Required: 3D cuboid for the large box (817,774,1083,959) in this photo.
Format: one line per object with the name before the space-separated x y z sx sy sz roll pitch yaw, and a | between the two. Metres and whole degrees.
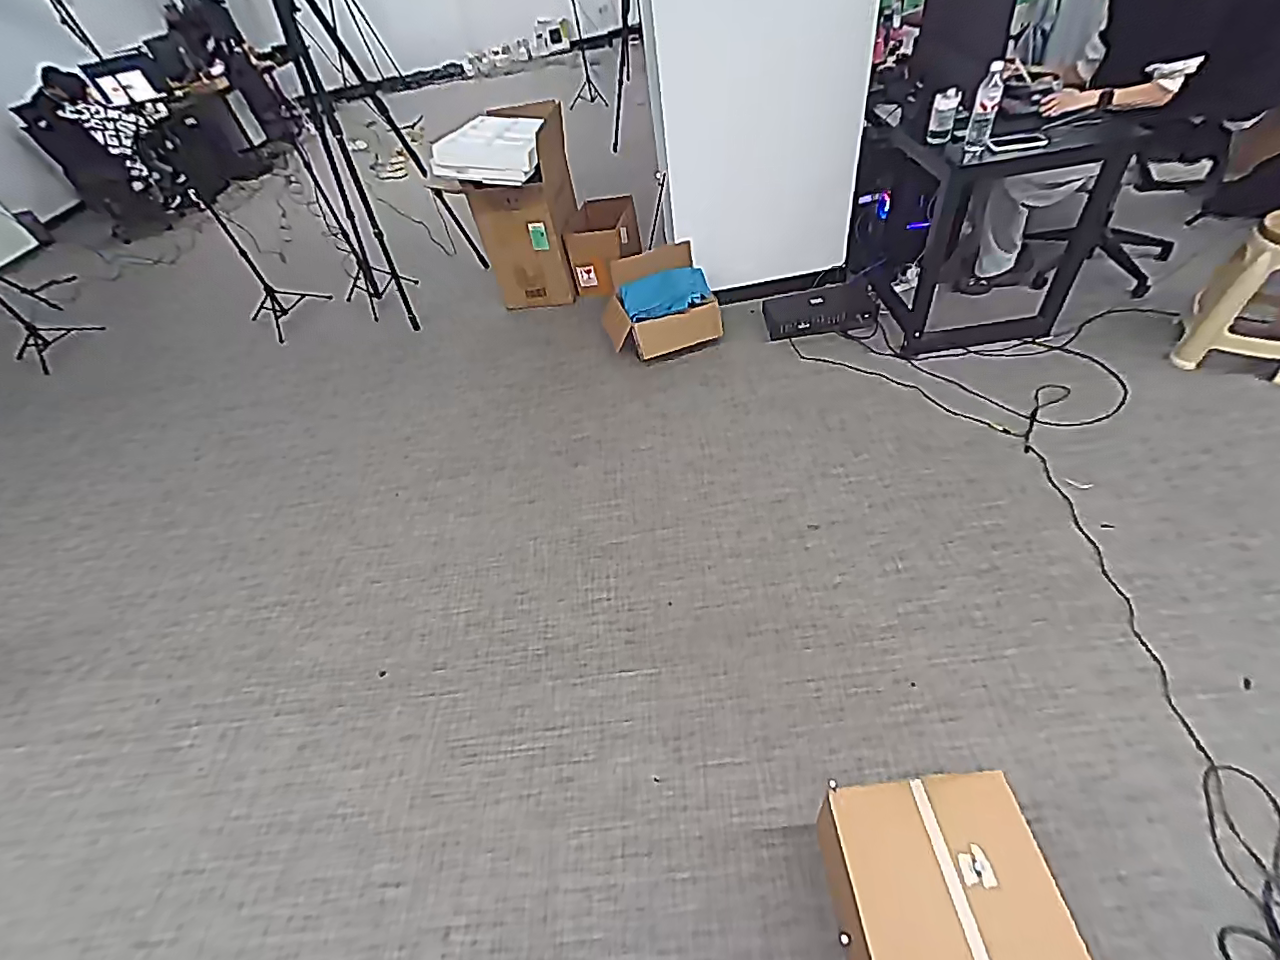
large box | 0.533 0.804 0.962 0.320 0.320 0.408 -8 45 3
